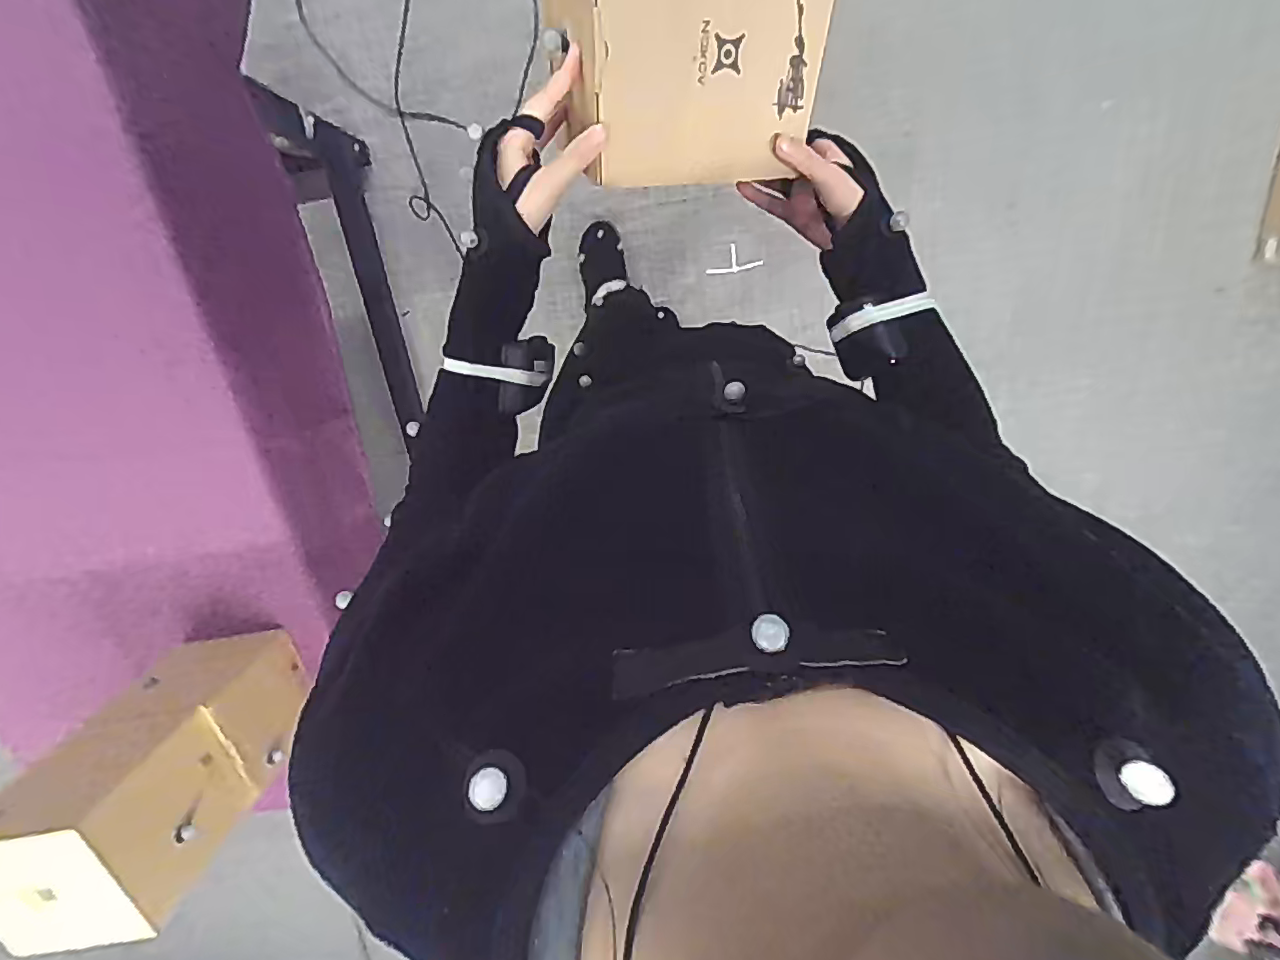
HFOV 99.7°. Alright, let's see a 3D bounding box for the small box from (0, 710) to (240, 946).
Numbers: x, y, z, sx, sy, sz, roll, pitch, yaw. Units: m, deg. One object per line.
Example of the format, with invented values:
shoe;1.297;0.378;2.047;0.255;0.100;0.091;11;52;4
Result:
small box;-0.628;0.401;0.643;0.179;0.176;0.168;-11;109;6
